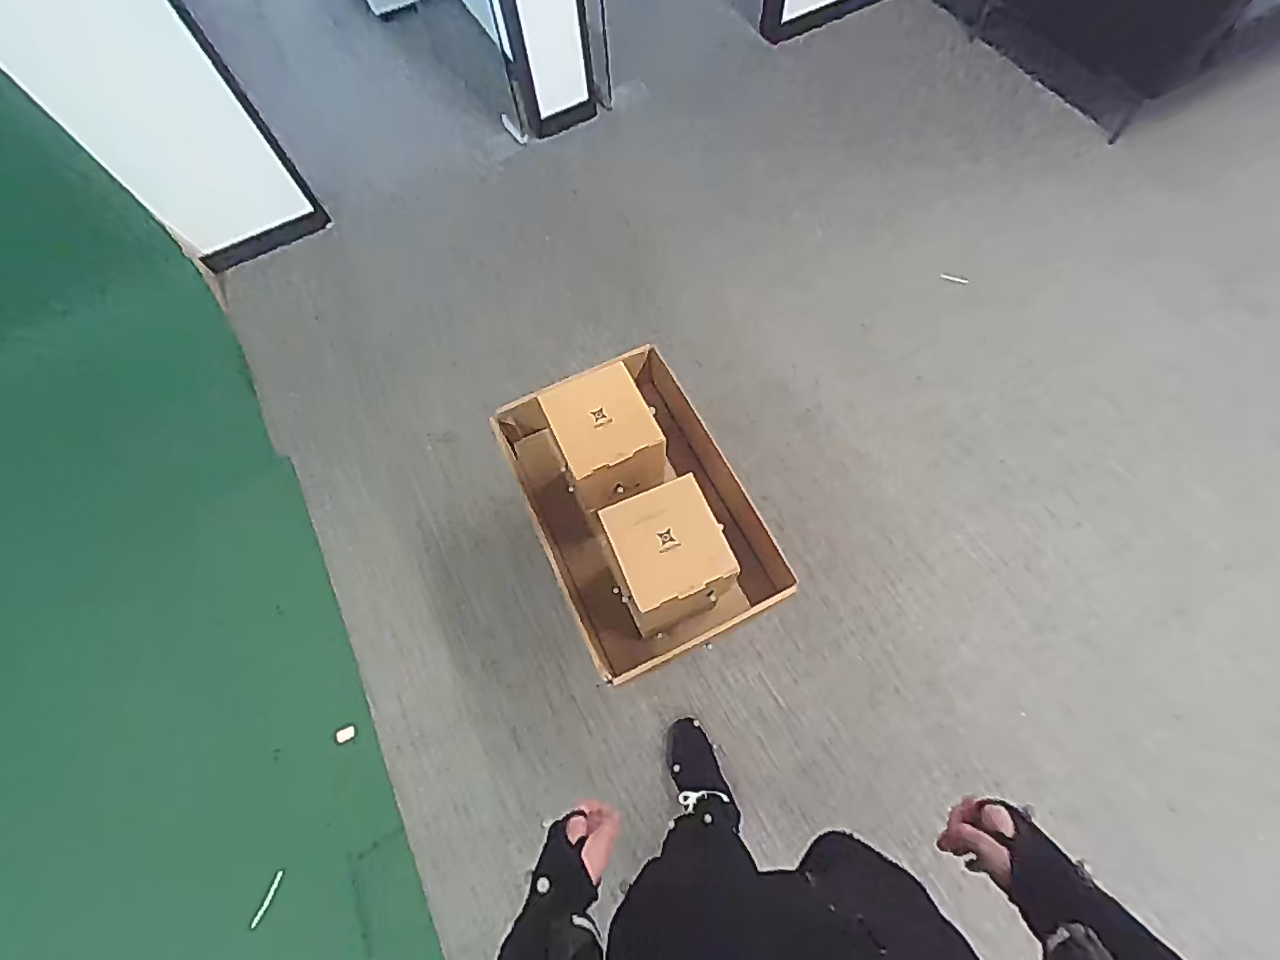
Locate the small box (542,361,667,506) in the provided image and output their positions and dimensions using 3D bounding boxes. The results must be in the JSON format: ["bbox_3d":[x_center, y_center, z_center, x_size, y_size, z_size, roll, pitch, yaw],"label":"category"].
[{"bbox_3d":[-0.062,-0.079,0.991,0.168,0.176,0.179,-24,70,-8],"label":"small box"}]

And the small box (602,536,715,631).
[{"bbox_3d":[0.042,0.180,1.049,0.168,0.176,0.179,-24,67,-8],"label":"small box"}]

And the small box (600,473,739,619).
[{"bbox_3d":[0.047,0.120,0.898,0.168,0.176,0.179,-21,67,-7],"label":"small box"}]
